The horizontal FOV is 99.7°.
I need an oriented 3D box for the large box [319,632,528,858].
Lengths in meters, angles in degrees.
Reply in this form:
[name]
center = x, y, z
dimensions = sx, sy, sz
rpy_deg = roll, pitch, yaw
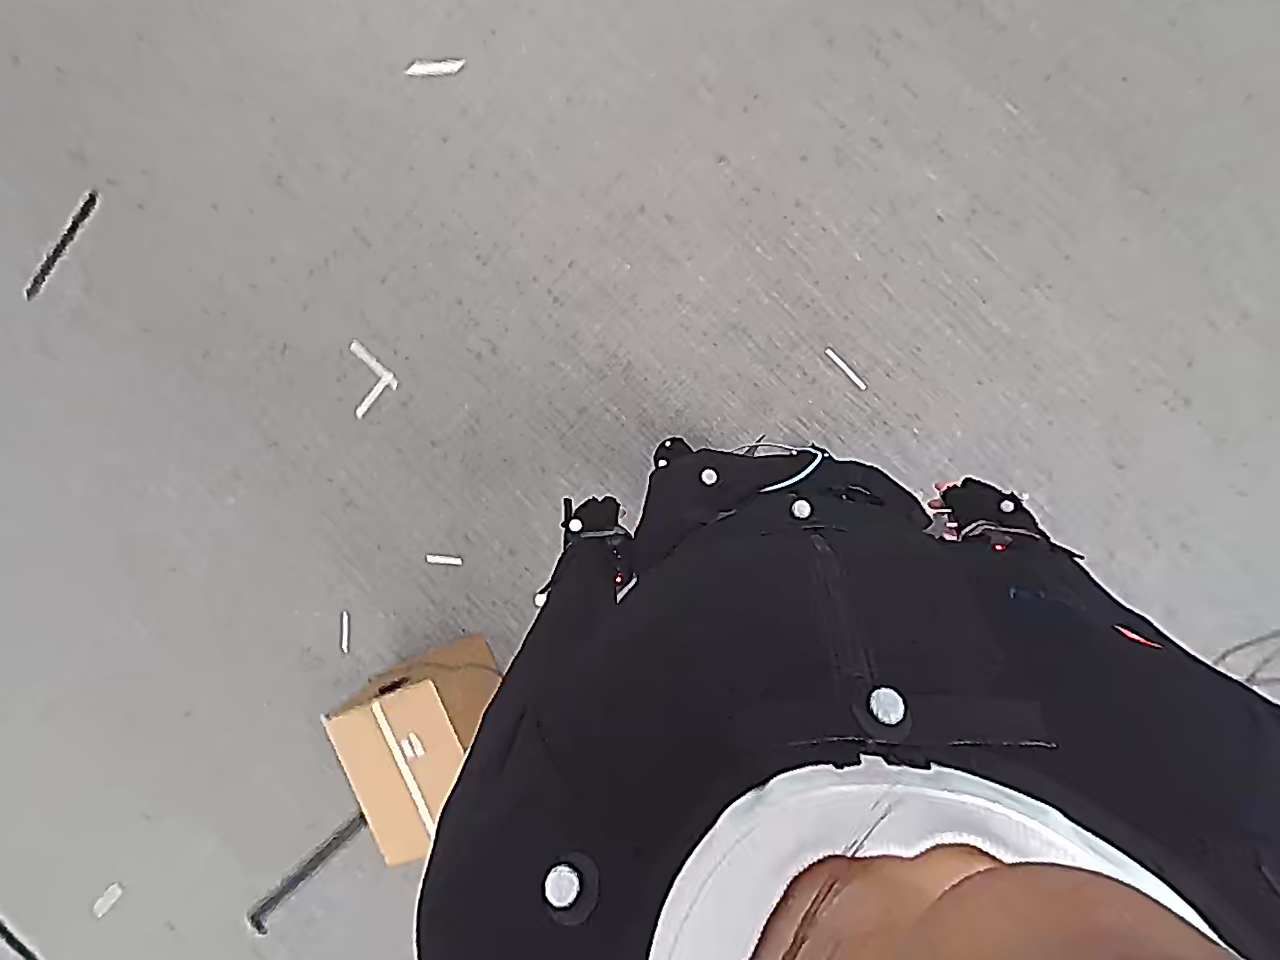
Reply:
[large box]
center = -0.556, 0.688, 1.456
dimensions = 0.320, 0.320, 0.408
rpy_deg = -22, 92, 7
